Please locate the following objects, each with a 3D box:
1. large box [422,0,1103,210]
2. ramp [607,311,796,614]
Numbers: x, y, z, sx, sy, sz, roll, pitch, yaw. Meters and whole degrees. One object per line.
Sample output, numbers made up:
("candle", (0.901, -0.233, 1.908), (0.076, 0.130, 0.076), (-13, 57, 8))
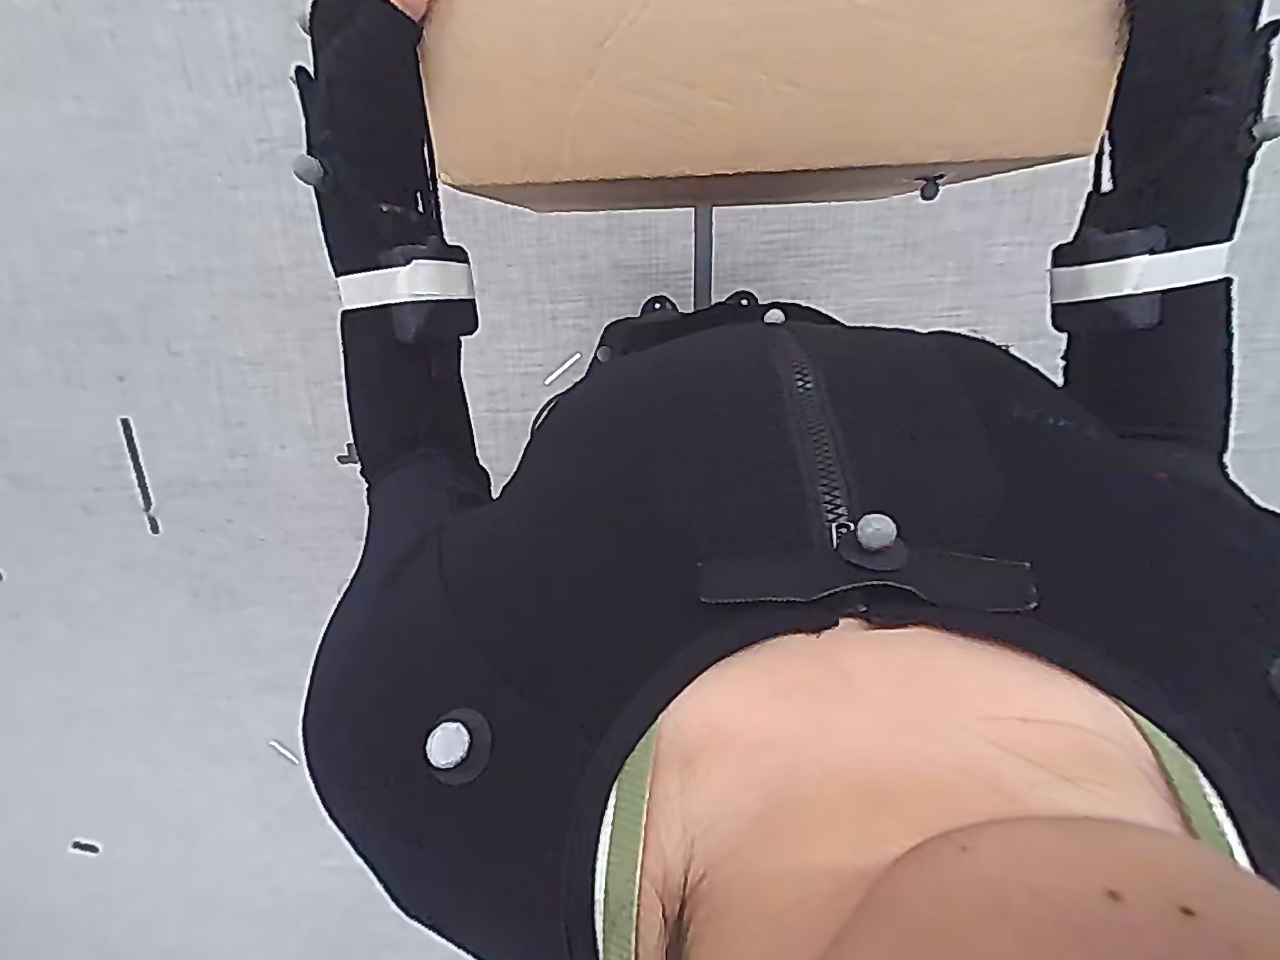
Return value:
("large box", (0.071, -0.399, 0.424), (0.408, 0.320, 0.320), (-2, 113, 2))
("ramp", (0.181, 0.013, 1.616), (0.509, 0.206, 0.991), (-3, 108, 3))
